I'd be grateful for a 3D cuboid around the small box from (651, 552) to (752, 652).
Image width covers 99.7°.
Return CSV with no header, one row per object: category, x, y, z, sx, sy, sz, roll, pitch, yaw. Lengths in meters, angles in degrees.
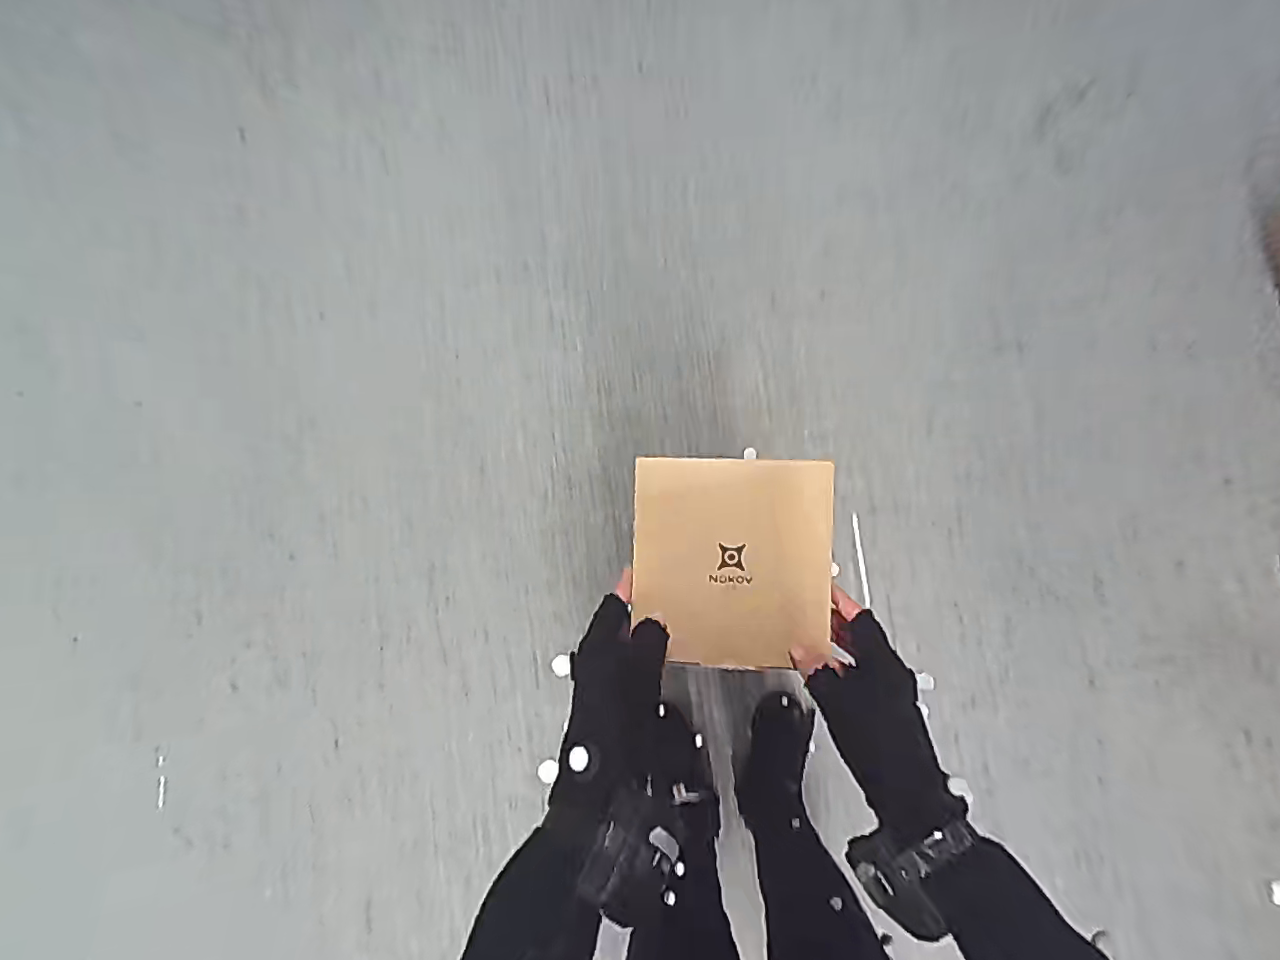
small box,0.116,0.225,1.028,0.179,0.176,0.168,-1,85,5
